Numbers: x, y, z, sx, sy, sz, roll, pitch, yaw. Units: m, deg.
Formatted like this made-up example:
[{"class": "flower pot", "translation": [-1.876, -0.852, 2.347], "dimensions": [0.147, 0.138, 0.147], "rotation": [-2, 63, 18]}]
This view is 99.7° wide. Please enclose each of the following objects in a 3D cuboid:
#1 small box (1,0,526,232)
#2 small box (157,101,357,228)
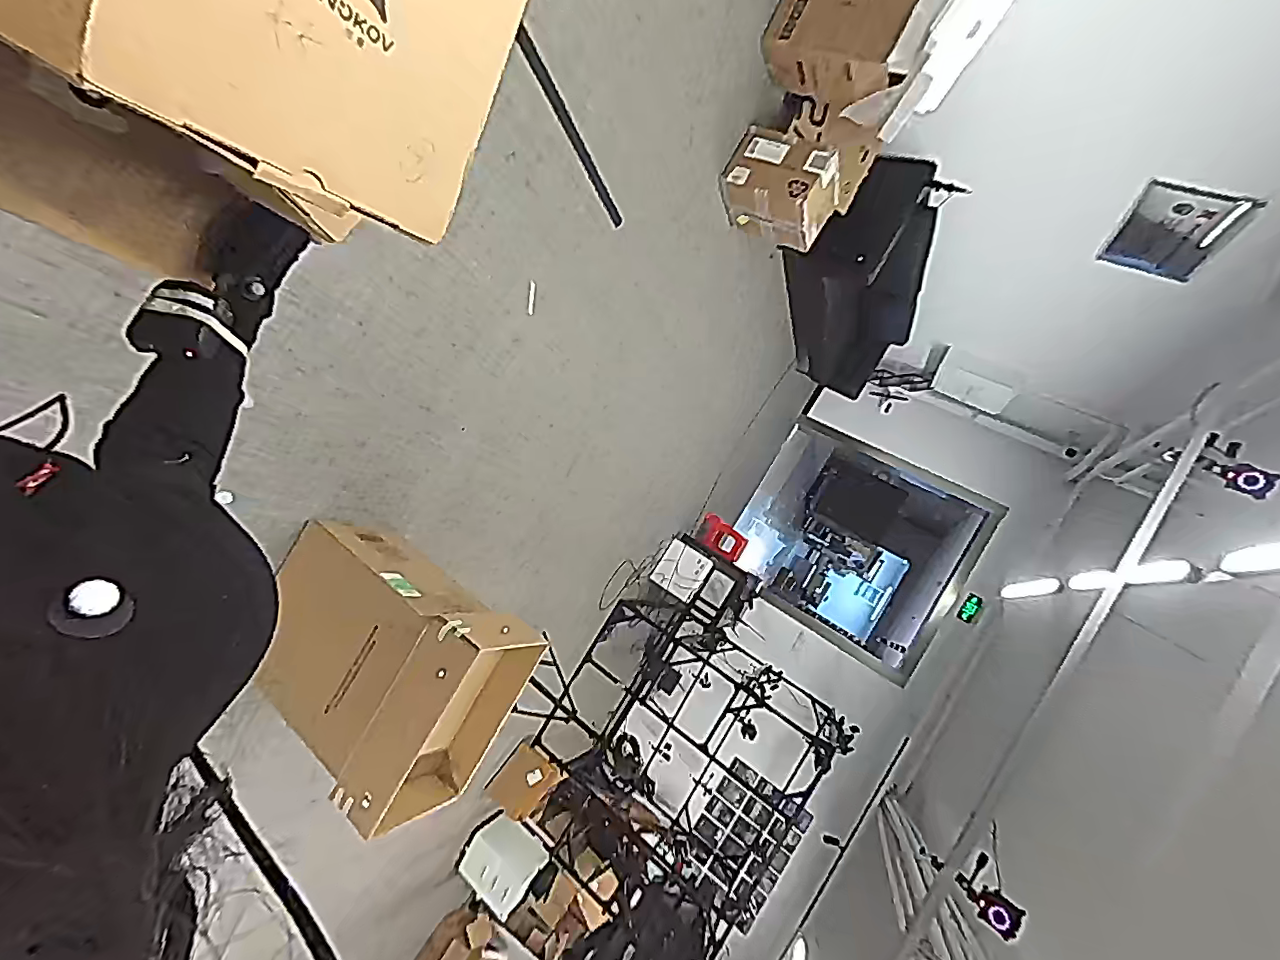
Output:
[{"class": "small box", "translation": [-0.189, -0.267, 0.273], "dimensions": [0.179, 0.176, 0.168], "rotation": [-62, 159, 13]}, {"class": "small box", "translation": [-0.287, -0.340, 0.414], "dimensions": [0.179, 0.176, 0.168], "rotation": [-55, 159, -10]}]
